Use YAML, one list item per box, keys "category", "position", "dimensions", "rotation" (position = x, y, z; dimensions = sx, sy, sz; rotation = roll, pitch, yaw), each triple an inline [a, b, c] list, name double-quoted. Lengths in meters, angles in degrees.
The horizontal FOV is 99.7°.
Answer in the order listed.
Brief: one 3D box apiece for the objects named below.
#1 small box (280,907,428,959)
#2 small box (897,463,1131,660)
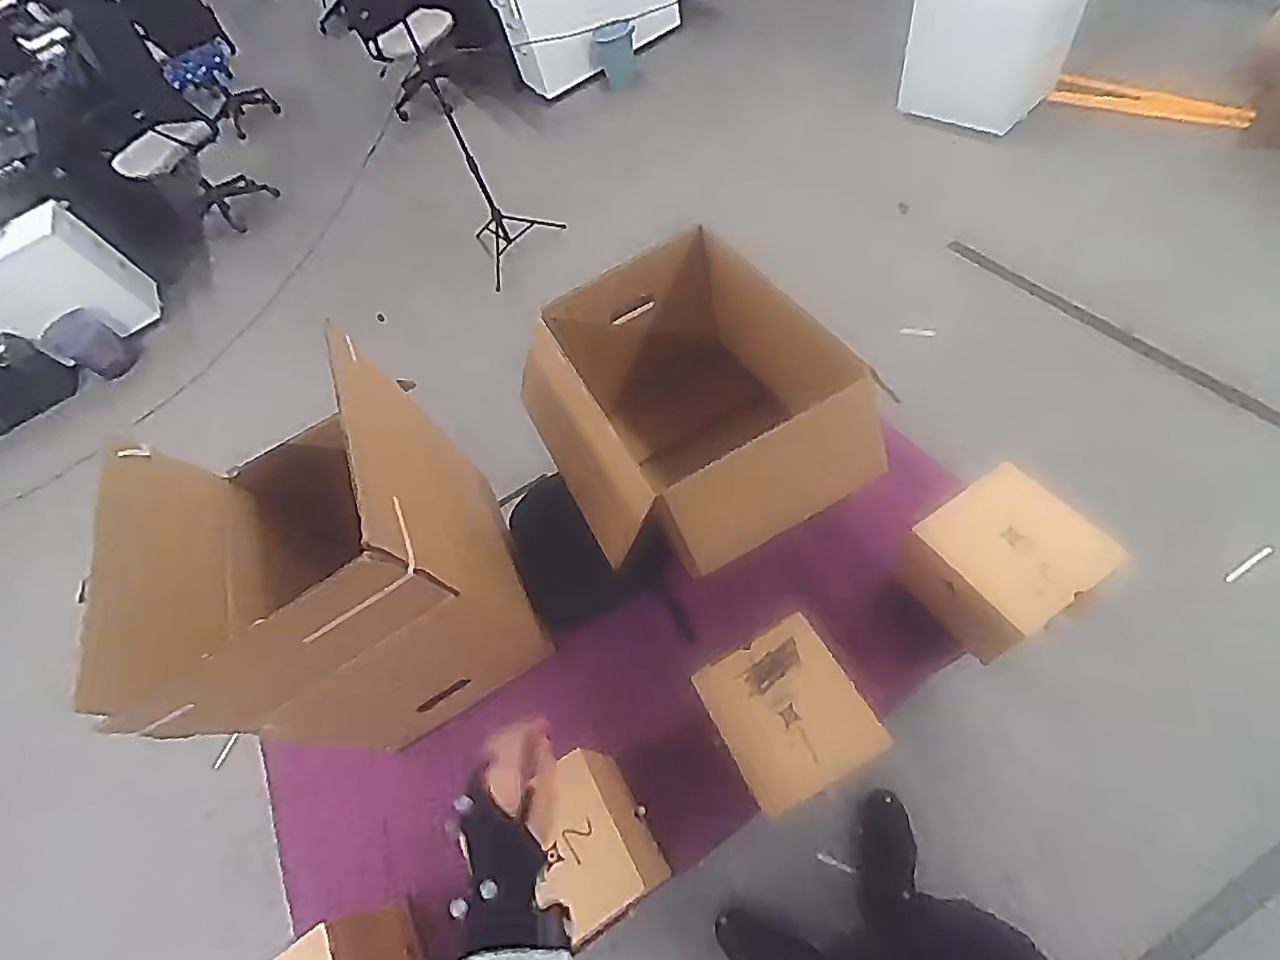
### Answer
- category: "small box"
  position: [-0.370, 0.660, 0.647]
  dimensions: [0.179, 0.176, 0.168]
  rotation: [-34, 57, -8]
- category: "small box"
  position: [0.481, 0.116, 0.734]
  dimensions: [0.168, 0.176, 0.179]
  rotation: [-34, 58, -4]
